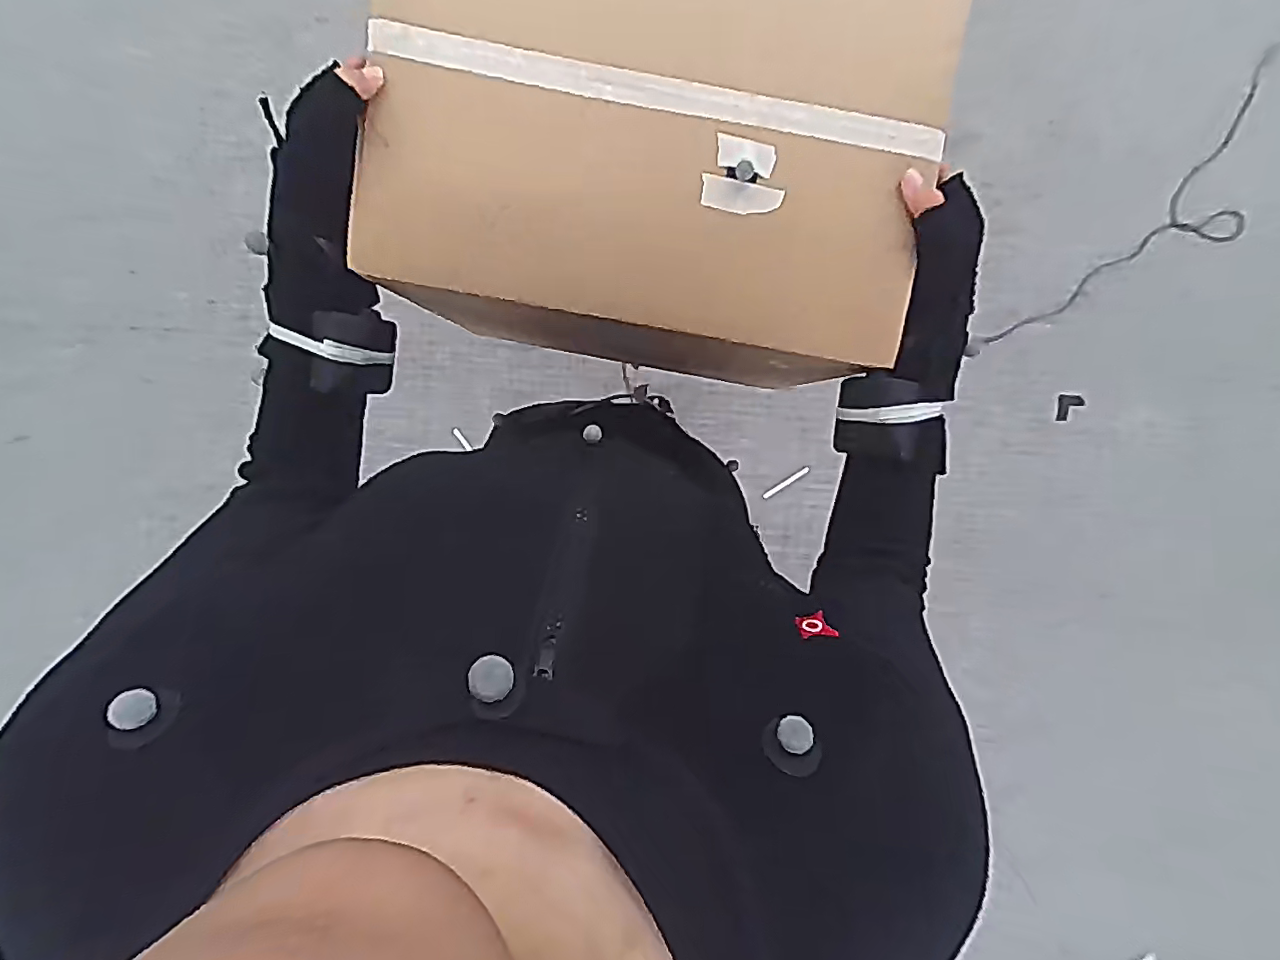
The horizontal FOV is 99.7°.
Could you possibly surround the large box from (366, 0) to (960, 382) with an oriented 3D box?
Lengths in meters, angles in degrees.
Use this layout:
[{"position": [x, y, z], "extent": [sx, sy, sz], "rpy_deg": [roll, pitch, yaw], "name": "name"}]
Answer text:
[{"position": [0.010, -0.289, 0.536], "extent": [0.408, 0.320, 0.320], "rpy_deg": [10, 98, -3], "name": "large box"}]
